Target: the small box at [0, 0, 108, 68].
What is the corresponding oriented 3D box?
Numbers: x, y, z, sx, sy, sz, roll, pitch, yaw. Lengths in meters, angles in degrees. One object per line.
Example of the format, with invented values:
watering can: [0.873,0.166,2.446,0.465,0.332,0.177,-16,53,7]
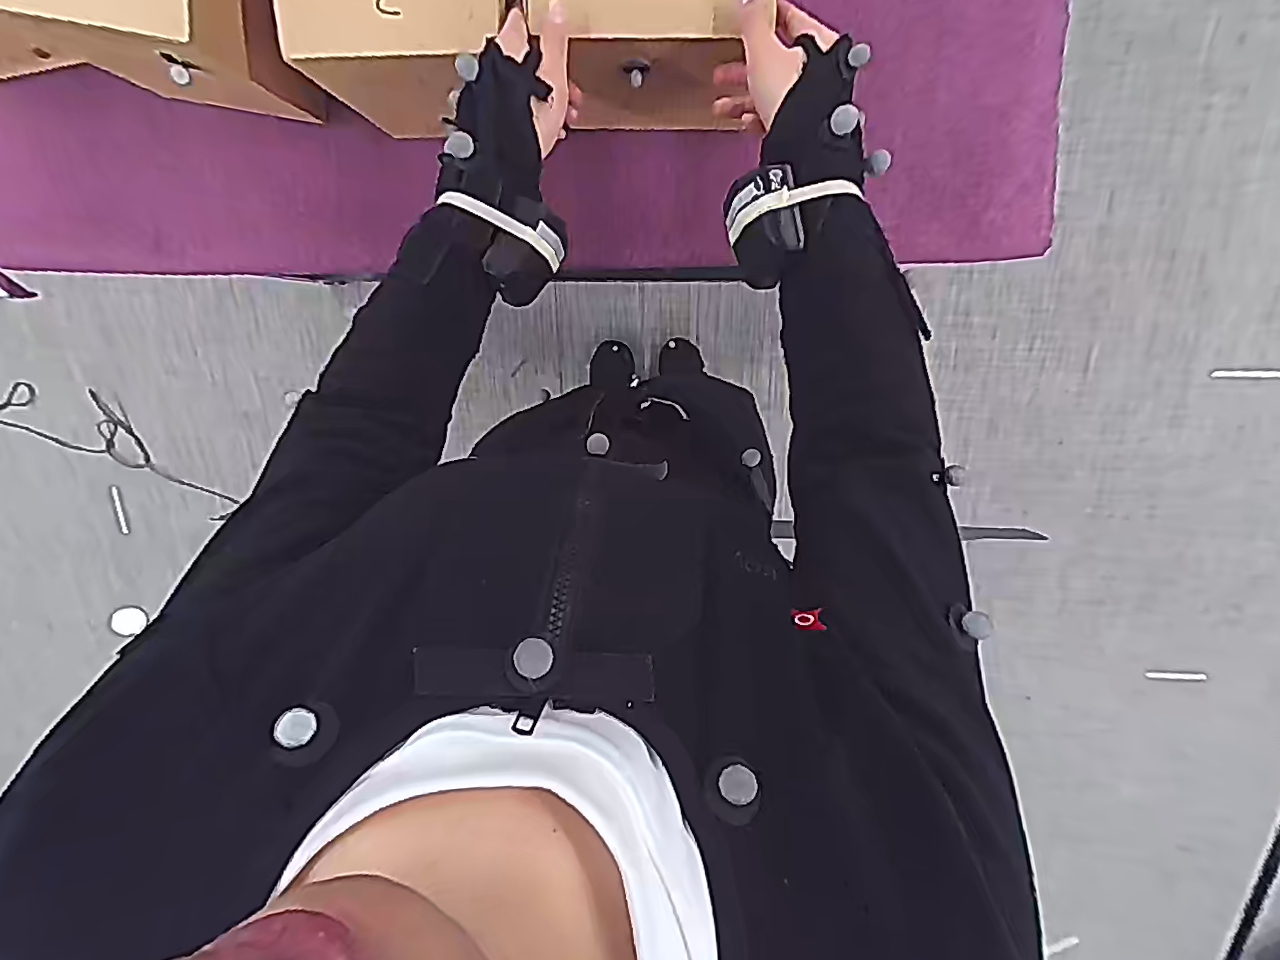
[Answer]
small box: [-0.624,-0.484,0.457,0.168,0.176,0.179,-7,106,5]
